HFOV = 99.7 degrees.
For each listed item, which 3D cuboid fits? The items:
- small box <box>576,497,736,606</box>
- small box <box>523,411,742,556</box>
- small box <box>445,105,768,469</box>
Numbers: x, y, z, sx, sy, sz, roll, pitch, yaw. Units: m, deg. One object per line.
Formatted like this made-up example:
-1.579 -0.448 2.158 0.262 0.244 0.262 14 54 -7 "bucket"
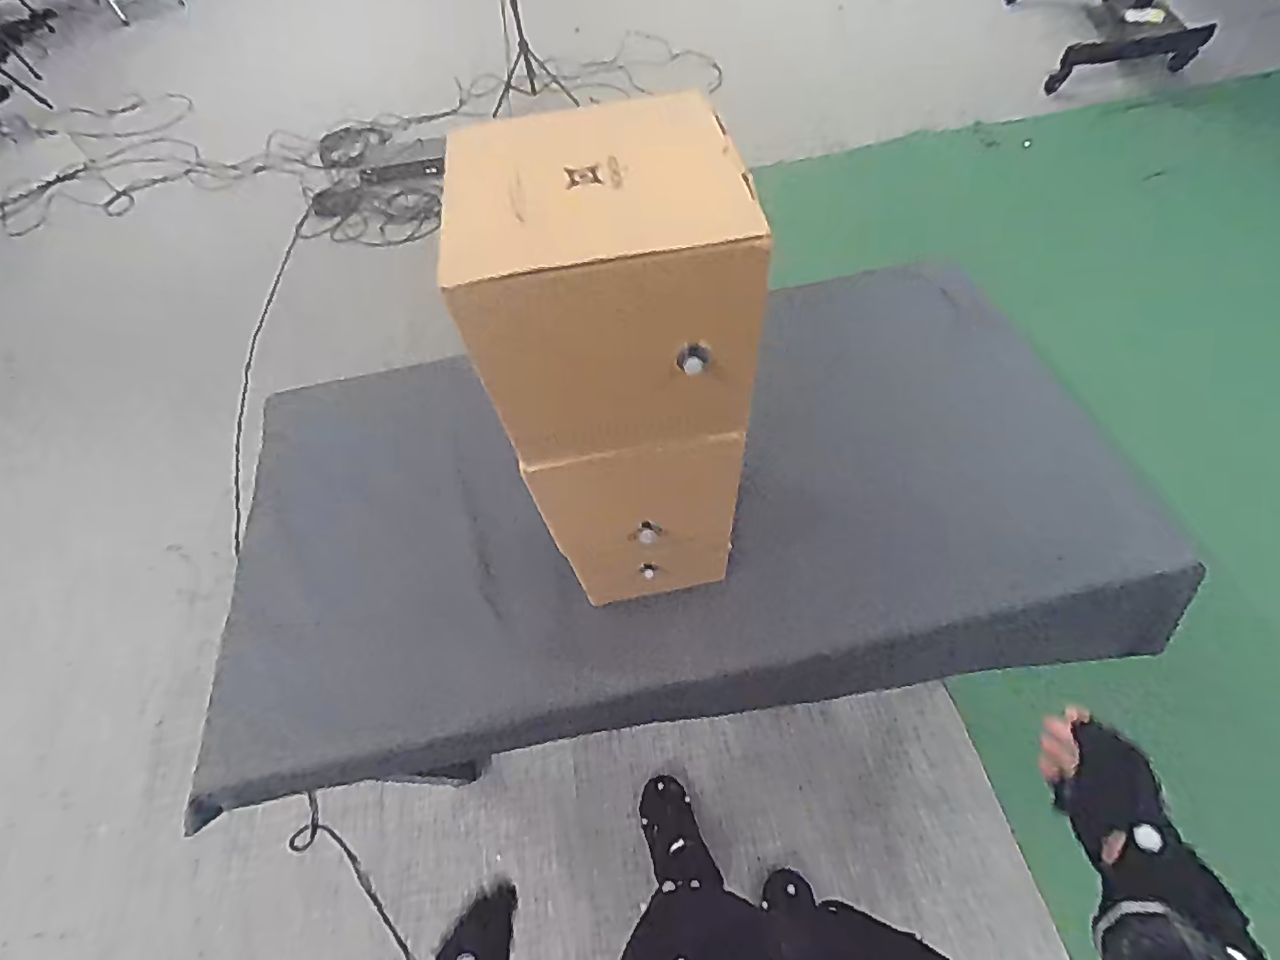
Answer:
0.004 0.038 0.671 0.179 0.176 0.168 -14 59 -4 "small box"
-0.011 -0.042 0.529 0.179 0.176 0.168 -10 58 -1 "small box"
-0.023 -0.129 0.392 0.179 0.176 0.168 -11 57 0 "small box"
